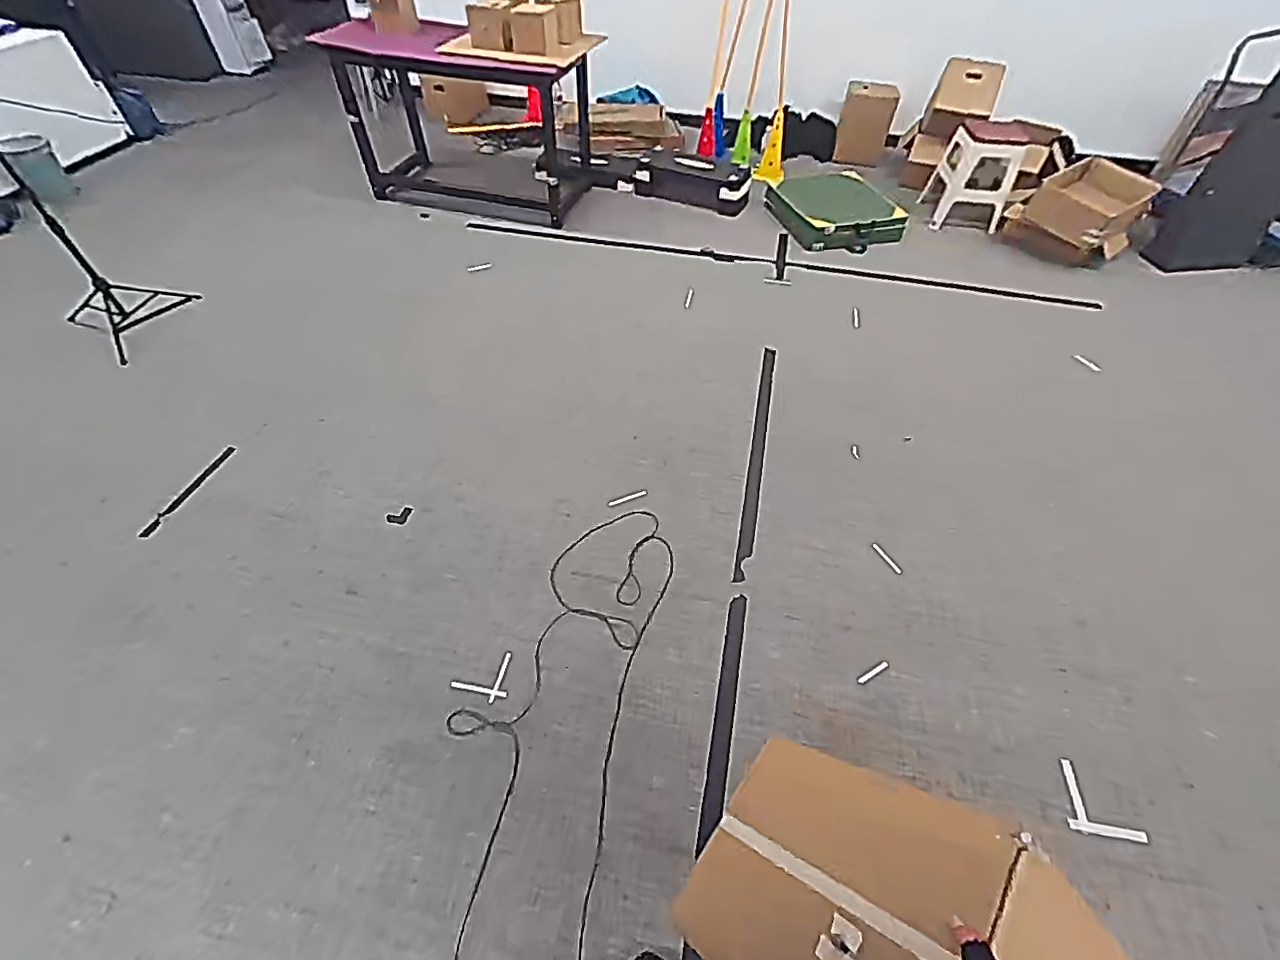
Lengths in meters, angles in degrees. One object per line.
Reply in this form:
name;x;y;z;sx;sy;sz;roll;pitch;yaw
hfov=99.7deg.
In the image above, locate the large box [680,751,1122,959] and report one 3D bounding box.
large box;0.335;0.635;0.712;0.320;0.408;0.320;49;63;-11
